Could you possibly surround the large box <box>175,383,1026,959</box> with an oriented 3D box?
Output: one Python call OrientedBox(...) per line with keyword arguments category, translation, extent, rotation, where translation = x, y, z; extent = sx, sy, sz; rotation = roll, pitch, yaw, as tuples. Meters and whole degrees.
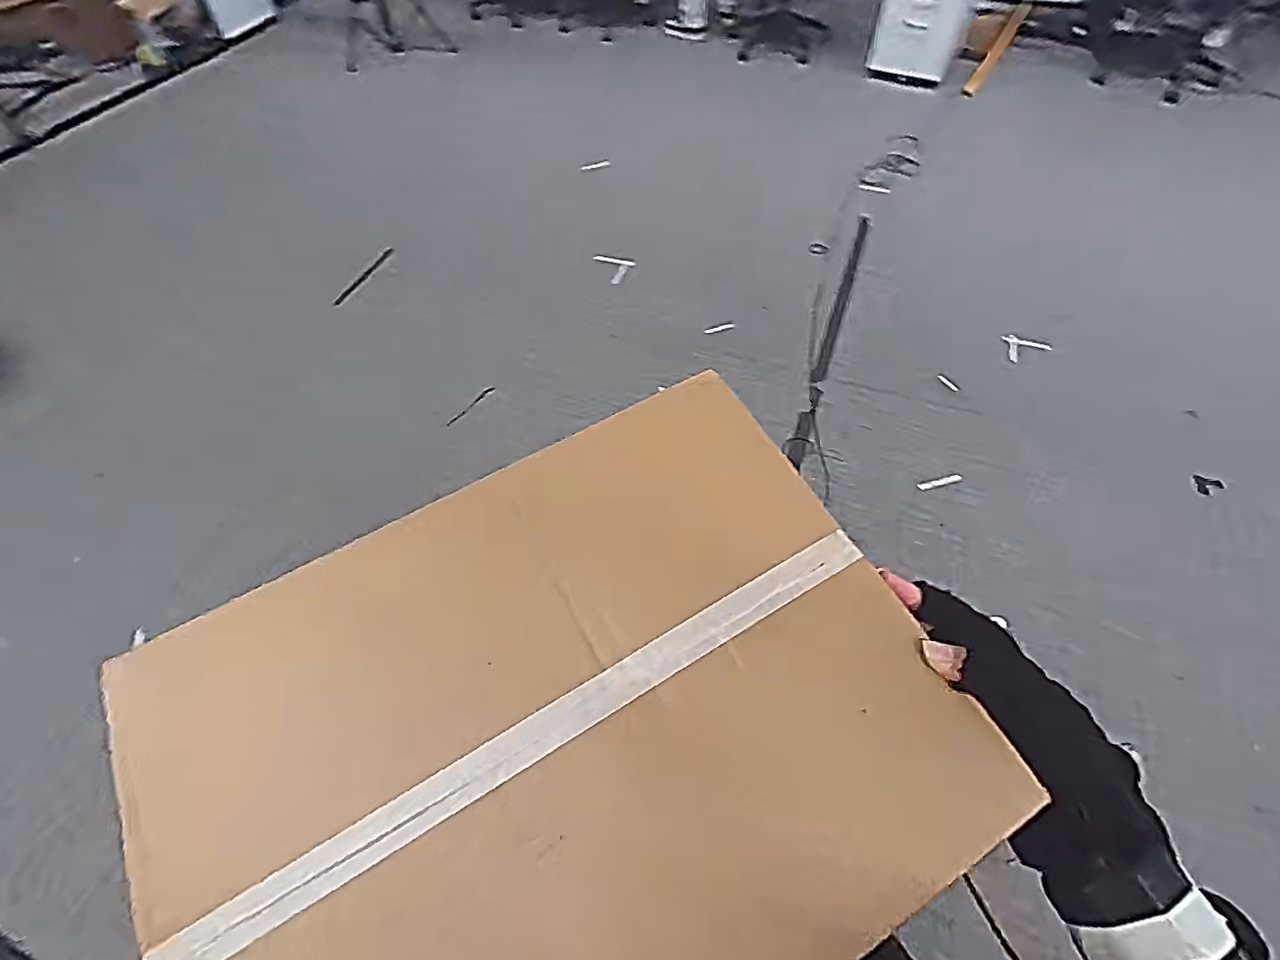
OrientedBox(category="large box", translation=(-0.034, 0.198, 0.440), extent=(0.408, 0.320, 0.320), rotation=(-27, 68, -12))
